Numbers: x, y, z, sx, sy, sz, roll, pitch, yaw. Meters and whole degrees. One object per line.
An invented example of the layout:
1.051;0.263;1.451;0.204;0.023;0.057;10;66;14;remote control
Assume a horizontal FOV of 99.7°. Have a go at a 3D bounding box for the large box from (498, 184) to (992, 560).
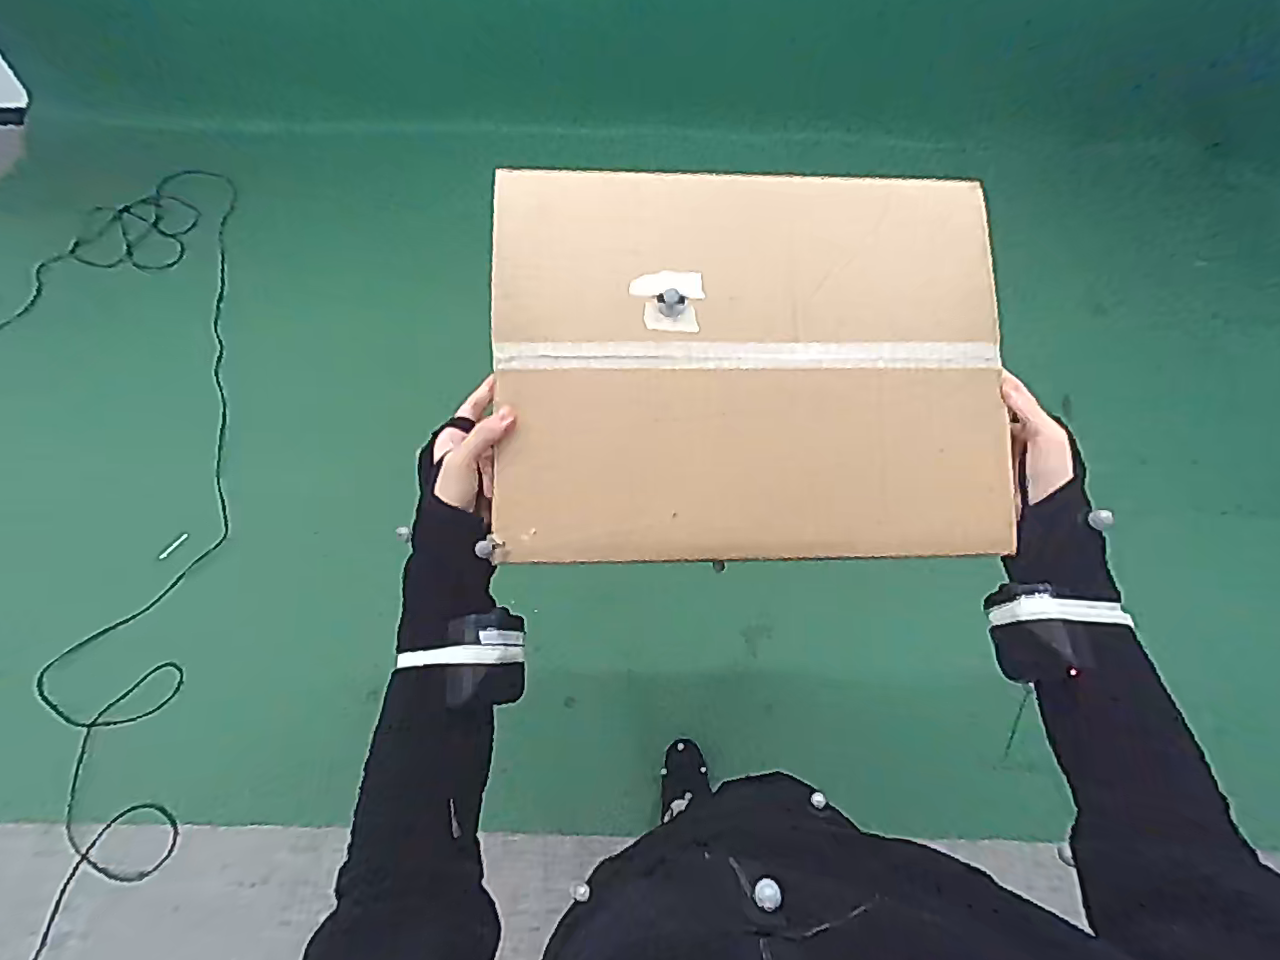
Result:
0.081;-0.083;0.594;0.408;0.320;0.320;-1;84;-2;large box
